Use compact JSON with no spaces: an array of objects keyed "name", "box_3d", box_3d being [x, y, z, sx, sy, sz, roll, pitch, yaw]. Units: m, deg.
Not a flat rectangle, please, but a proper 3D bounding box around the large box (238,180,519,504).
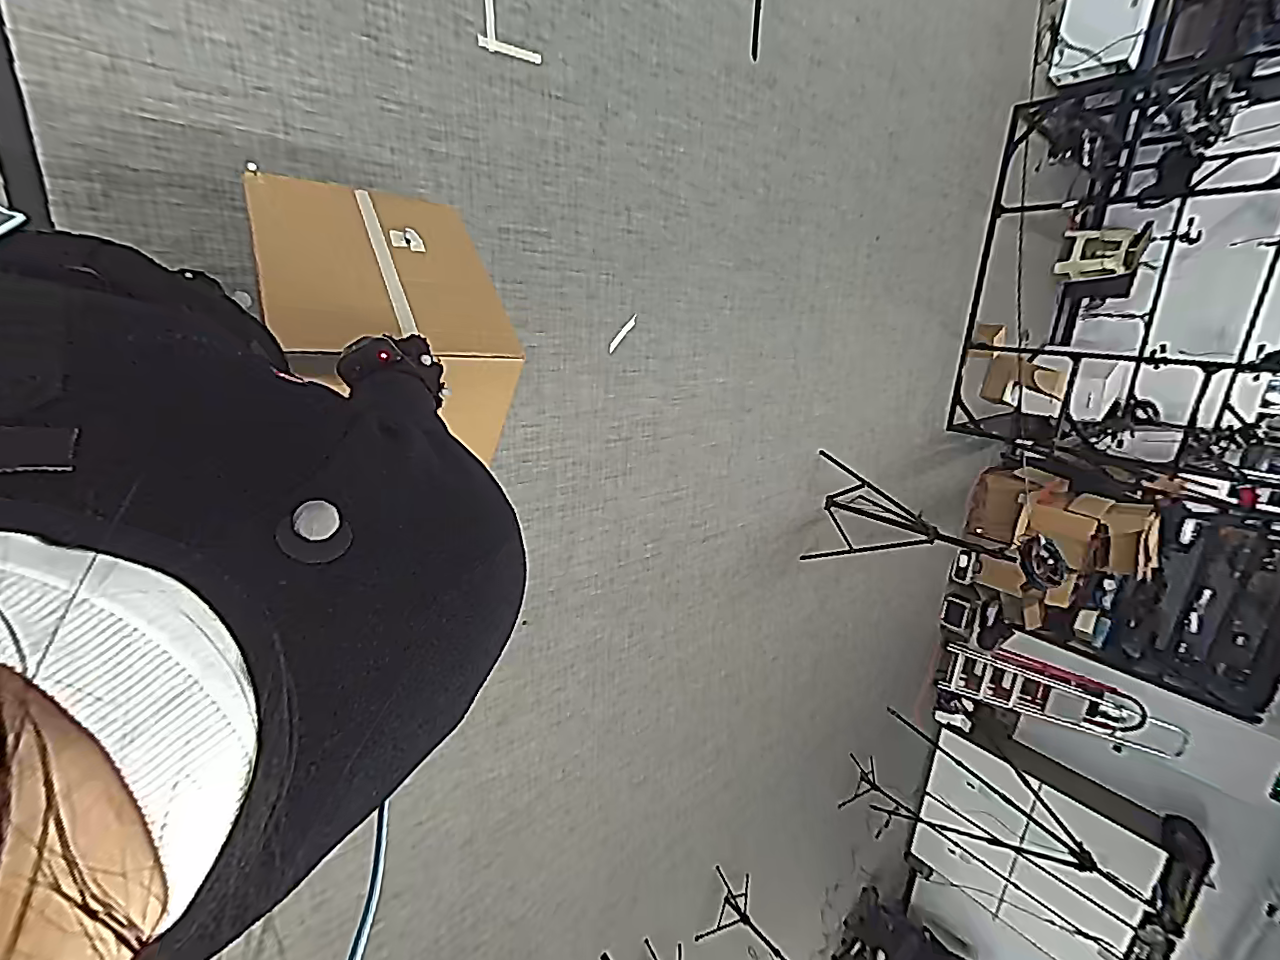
[{"name":"large box","box_3d":[-0.448,-0.221,0.906,0.320,0.408,0.320,-7,145,-37]}]
